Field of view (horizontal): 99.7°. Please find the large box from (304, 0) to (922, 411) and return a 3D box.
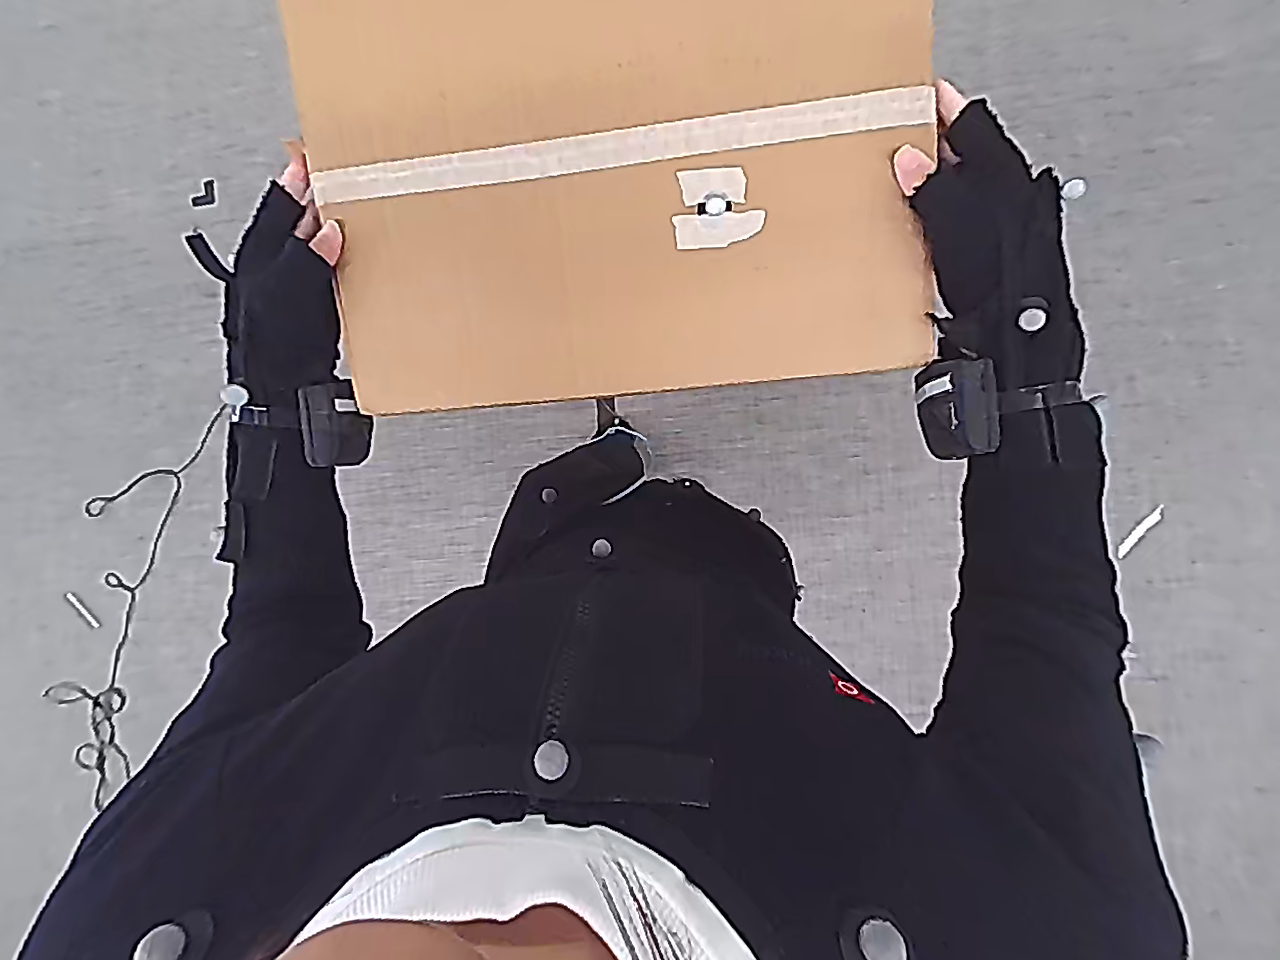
[{"bbox_3d":[-0.008,-0.248,0.513,0.408,0.320,0.320,-5,101,4],"label":"large box"}]
